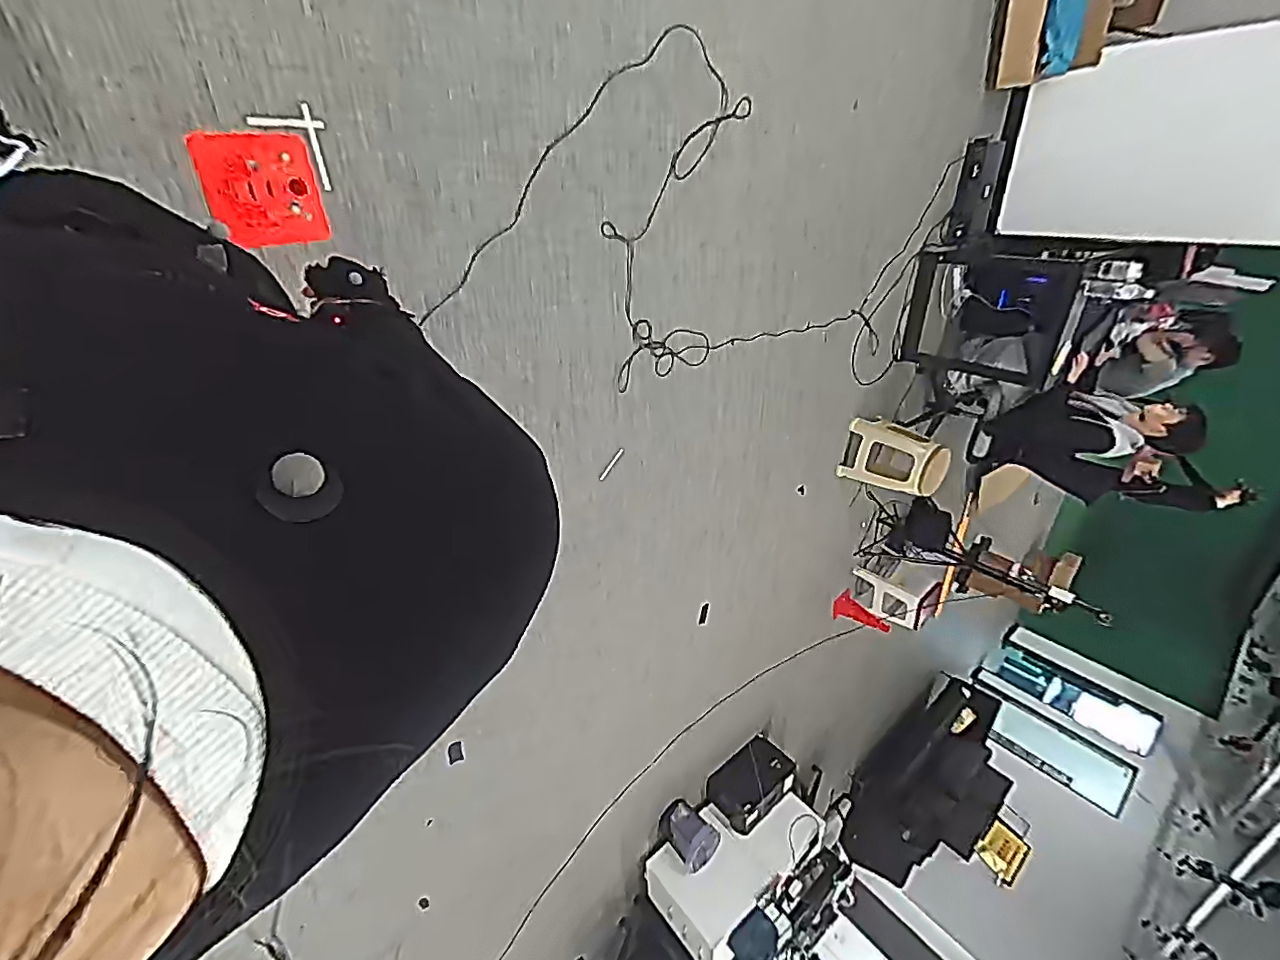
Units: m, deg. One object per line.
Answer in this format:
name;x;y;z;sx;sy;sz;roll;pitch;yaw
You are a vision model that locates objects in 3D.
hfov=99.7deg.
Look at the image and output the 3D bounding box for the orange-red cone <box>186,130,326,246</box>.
orange-red cone;-0.647;-0.520;0.957;0.199;0.360;0.198;-22;123;-32
